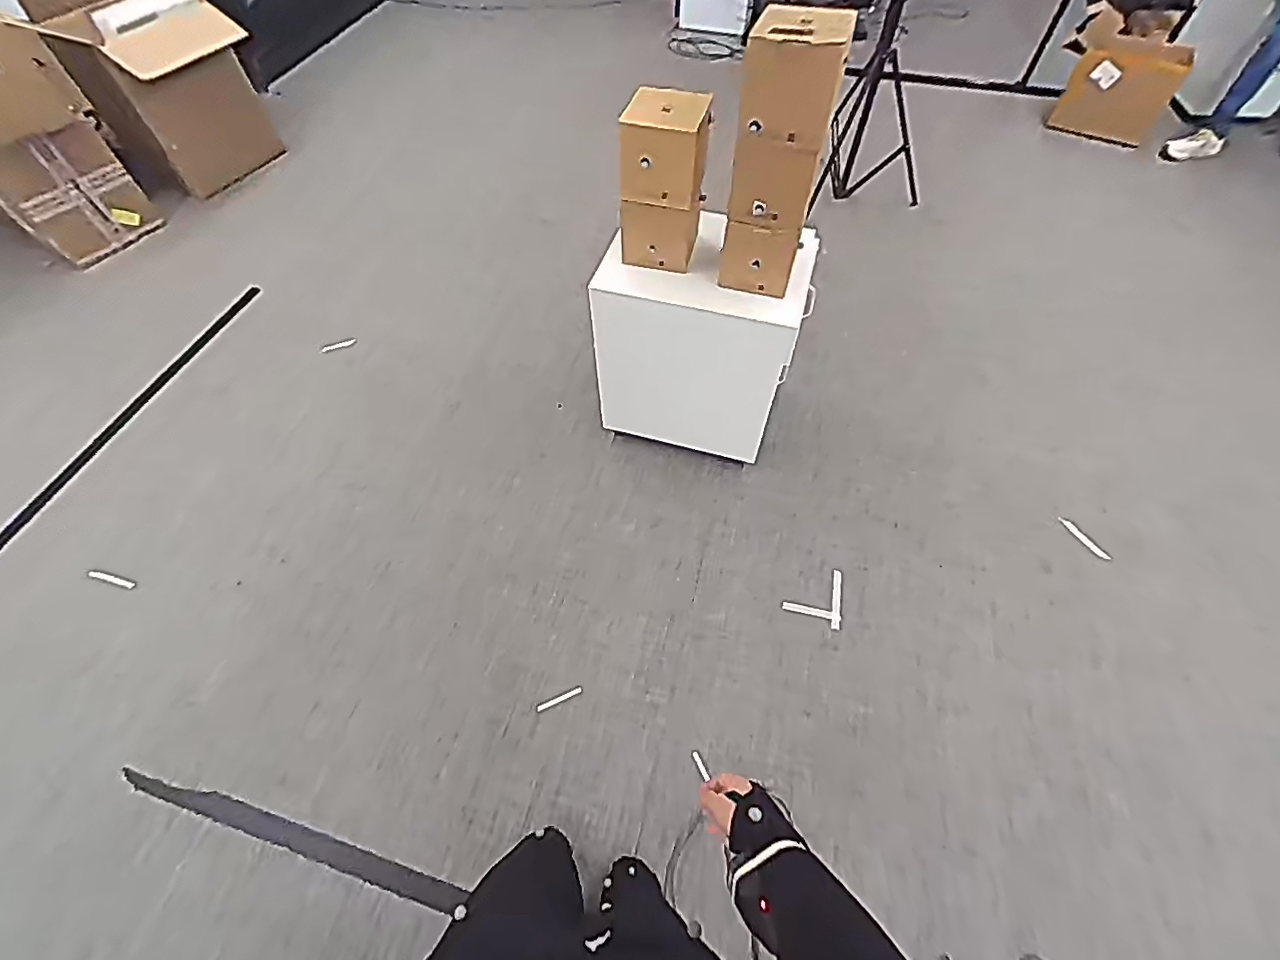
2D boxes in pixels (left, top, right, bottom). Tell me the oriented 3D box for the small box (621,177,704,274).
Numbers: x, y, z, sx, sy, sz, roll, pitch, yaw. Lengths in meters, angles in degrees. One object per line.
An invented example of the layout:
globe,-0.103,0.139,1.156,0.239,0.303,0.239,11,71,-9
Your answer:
small box,0.054,-0.642,1.337,0.168,0.176,0.179,12,58,8

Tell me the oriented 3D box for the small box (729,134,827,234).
small box,0.291,-0.660,1.153,0.168,0.176,0.179,14,59,11

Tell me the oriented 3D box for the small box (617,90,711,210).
small box,0.055,-0.728,1.199,0.168,0.176,0.179,13,57,8

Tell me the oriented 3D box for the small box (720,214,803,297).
small box,0.291,-0.563,1.285,0.168,0.176,0.179,14,59,11

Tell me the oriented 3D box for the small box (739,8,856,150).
small box,0.288,-0.748,1.014,0.168,0.176,0.179,16,57,12
